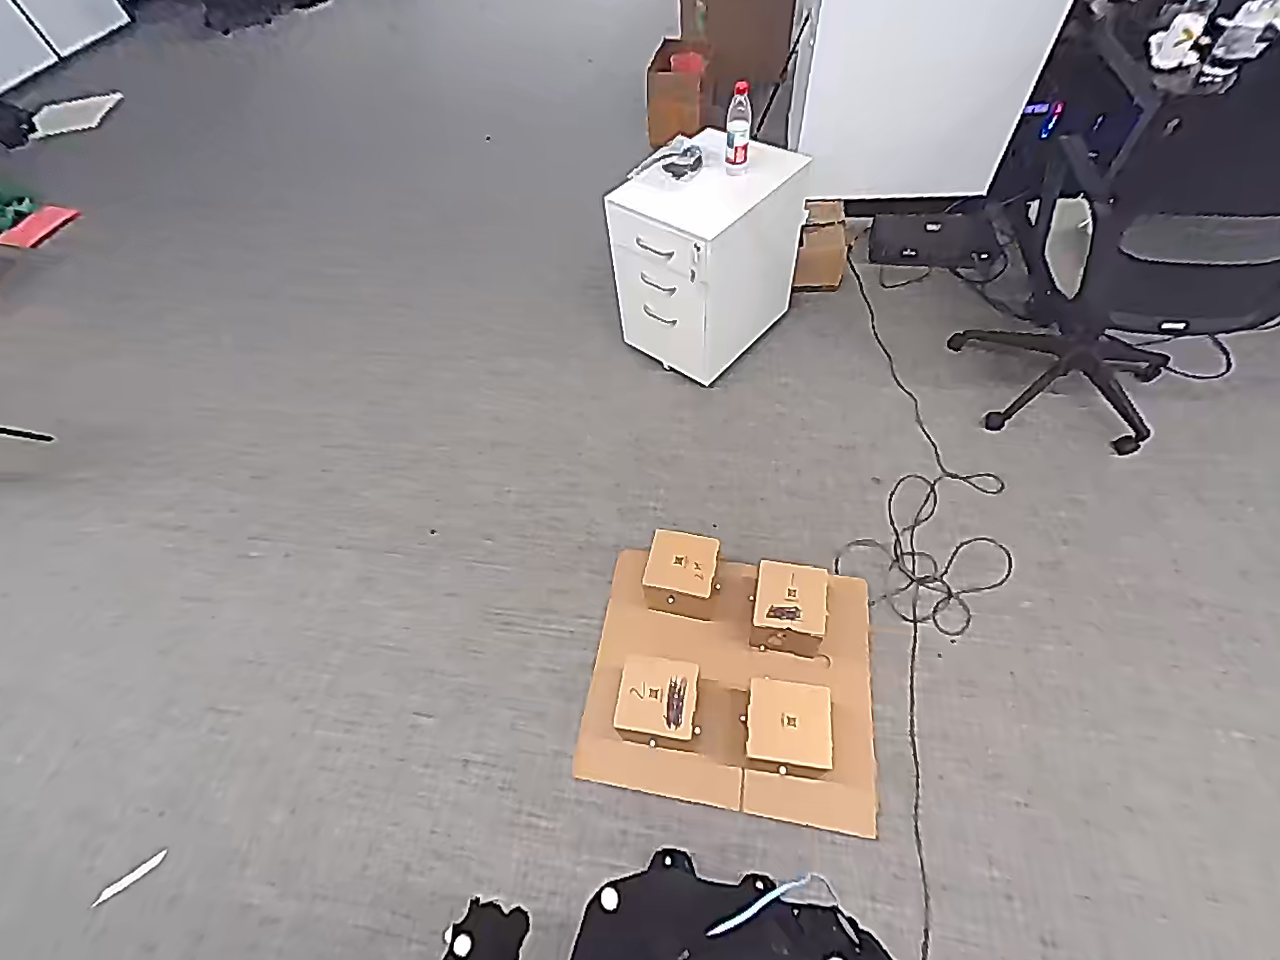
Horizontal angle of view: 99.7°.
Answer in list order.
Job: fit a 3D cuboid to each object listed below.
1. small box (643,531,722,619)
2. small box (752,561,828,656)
[{"bbox_3d":[0.120,0.259,1.455,0.179,0.176,0.168,10,58,13],"label":"small box"},{"bbox_3d":[0.380,0.331,1.379,0.168,0.176,0.179,7,57,13],"label":"small box"}]
